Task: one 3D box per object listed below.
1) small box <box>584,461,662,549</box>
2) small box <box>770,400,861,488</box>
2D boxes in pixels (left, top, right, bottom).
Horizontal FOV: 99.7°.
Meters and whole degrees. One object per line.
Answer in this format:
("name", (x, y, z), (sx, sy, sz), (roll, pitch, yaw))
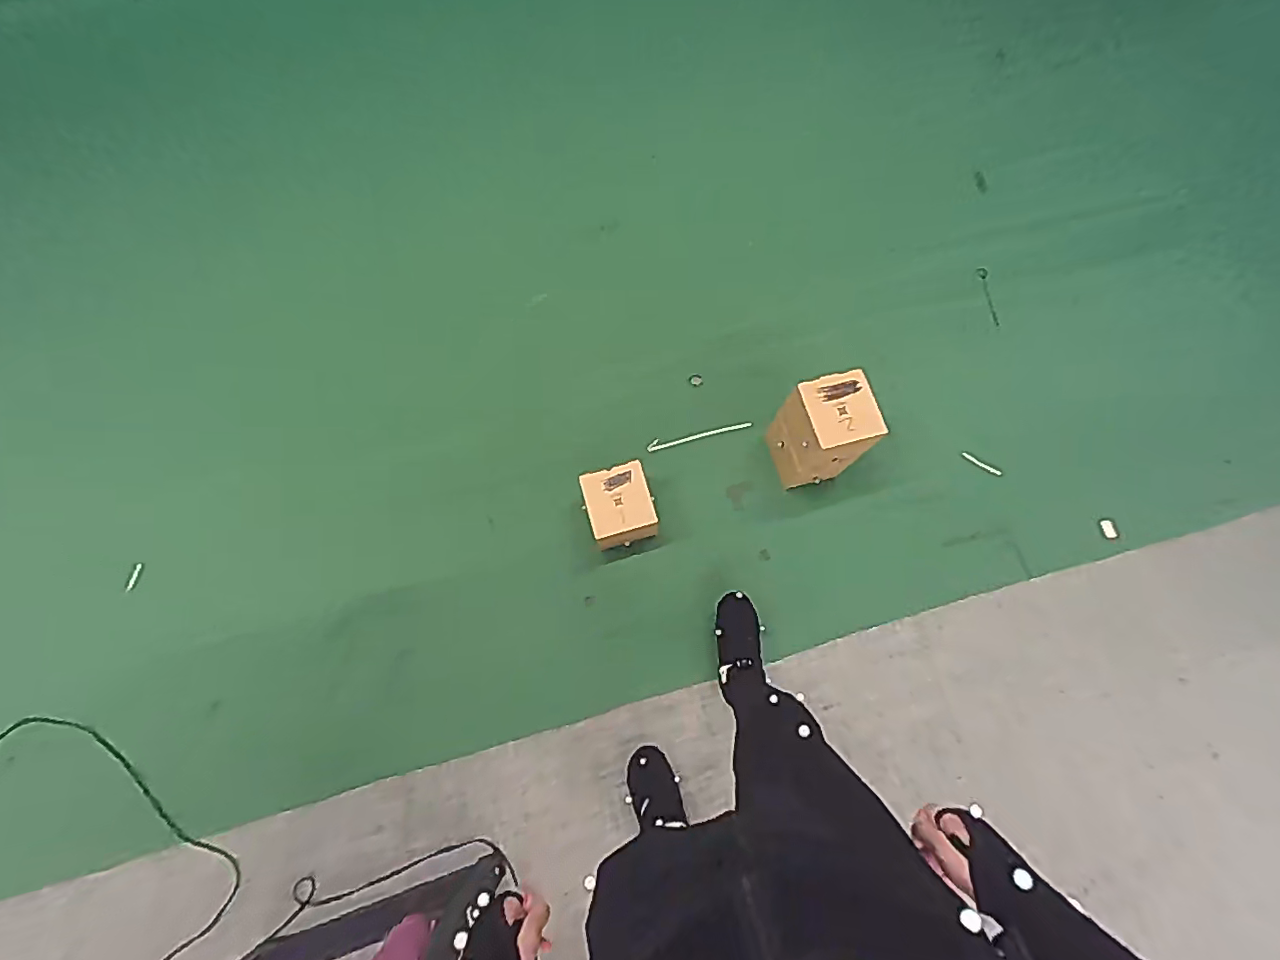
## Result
("small box", (-0.045, 0.071, 1.450), (0.168, 0.176, 0.179), (-15, 74, -4))
("small box", (0.475, -0.094, 1.495), (0.168, 0.176, 0.179), (-13, 74, -4))
